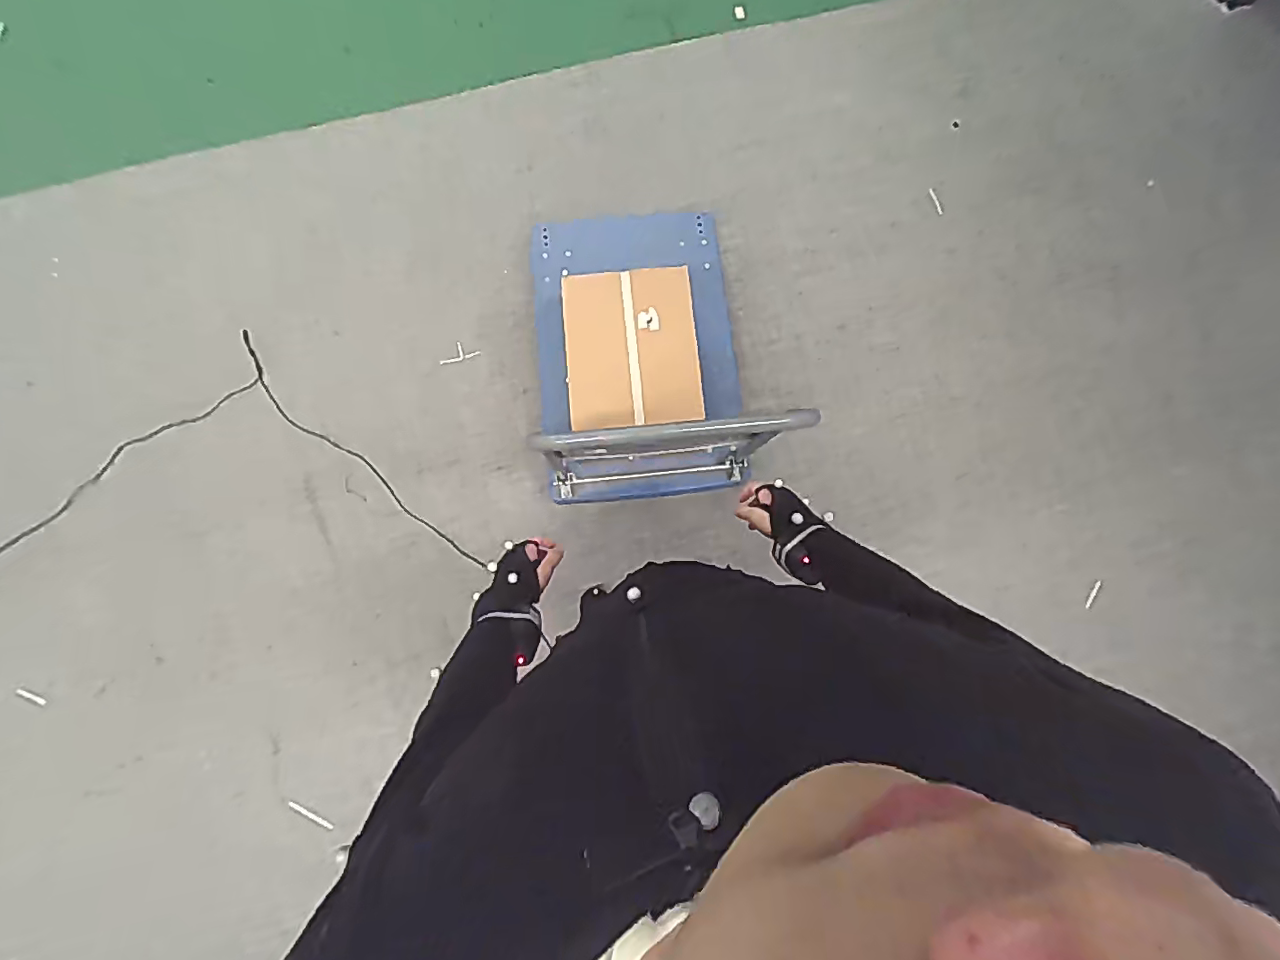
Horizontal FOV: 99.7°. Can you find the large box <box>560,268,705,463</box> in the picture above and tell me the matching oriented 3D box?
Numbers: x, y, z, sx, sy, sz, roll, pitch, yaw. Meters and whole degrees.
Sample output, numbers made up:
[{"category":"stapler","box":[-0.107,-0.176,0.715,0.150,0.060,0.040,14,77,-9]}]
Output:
[{"category":"large box","box":[-0.024,-0.284,1.431,0.320,0.320,0.408,-5,78,-2]}]
